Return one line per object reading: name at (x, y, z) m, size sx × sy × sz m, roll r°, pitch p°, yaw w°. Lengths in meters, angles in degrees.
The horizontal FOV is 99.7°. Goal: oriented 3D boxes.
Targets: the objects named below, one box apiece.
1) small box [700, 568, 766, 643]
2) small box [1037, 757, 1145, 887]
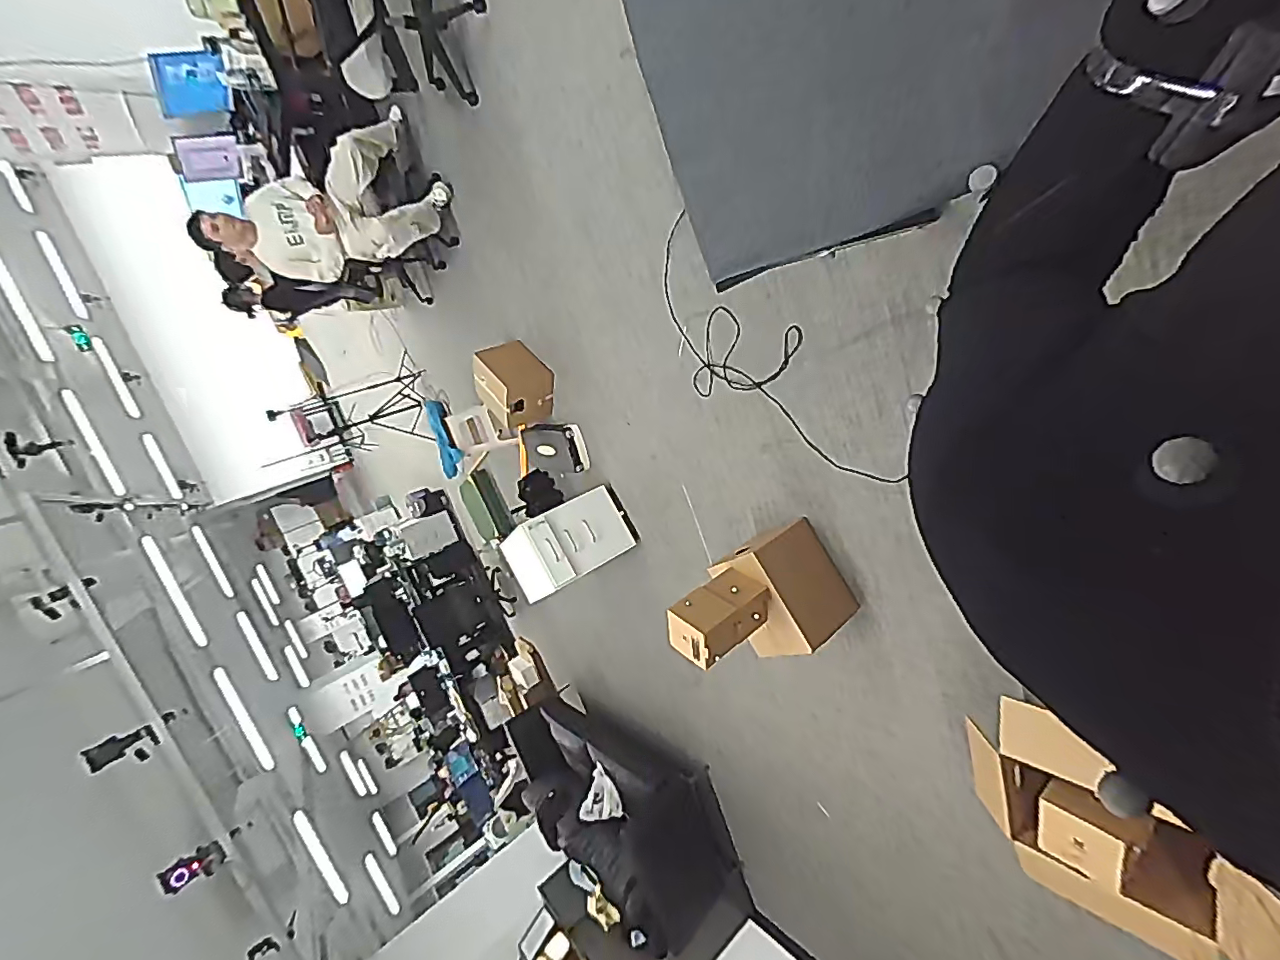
small box at (0.341, 0.445, 1.958) m, size 0.179 × 0.176 × 0.168 m, roll 24°, pitch 130°, yaw 43°
small box at (1.120, 0.836, 1.342) m, size 0.168 × 0.176 × 0.179 m, roll 15°, pitch 124°, yaw 54°
